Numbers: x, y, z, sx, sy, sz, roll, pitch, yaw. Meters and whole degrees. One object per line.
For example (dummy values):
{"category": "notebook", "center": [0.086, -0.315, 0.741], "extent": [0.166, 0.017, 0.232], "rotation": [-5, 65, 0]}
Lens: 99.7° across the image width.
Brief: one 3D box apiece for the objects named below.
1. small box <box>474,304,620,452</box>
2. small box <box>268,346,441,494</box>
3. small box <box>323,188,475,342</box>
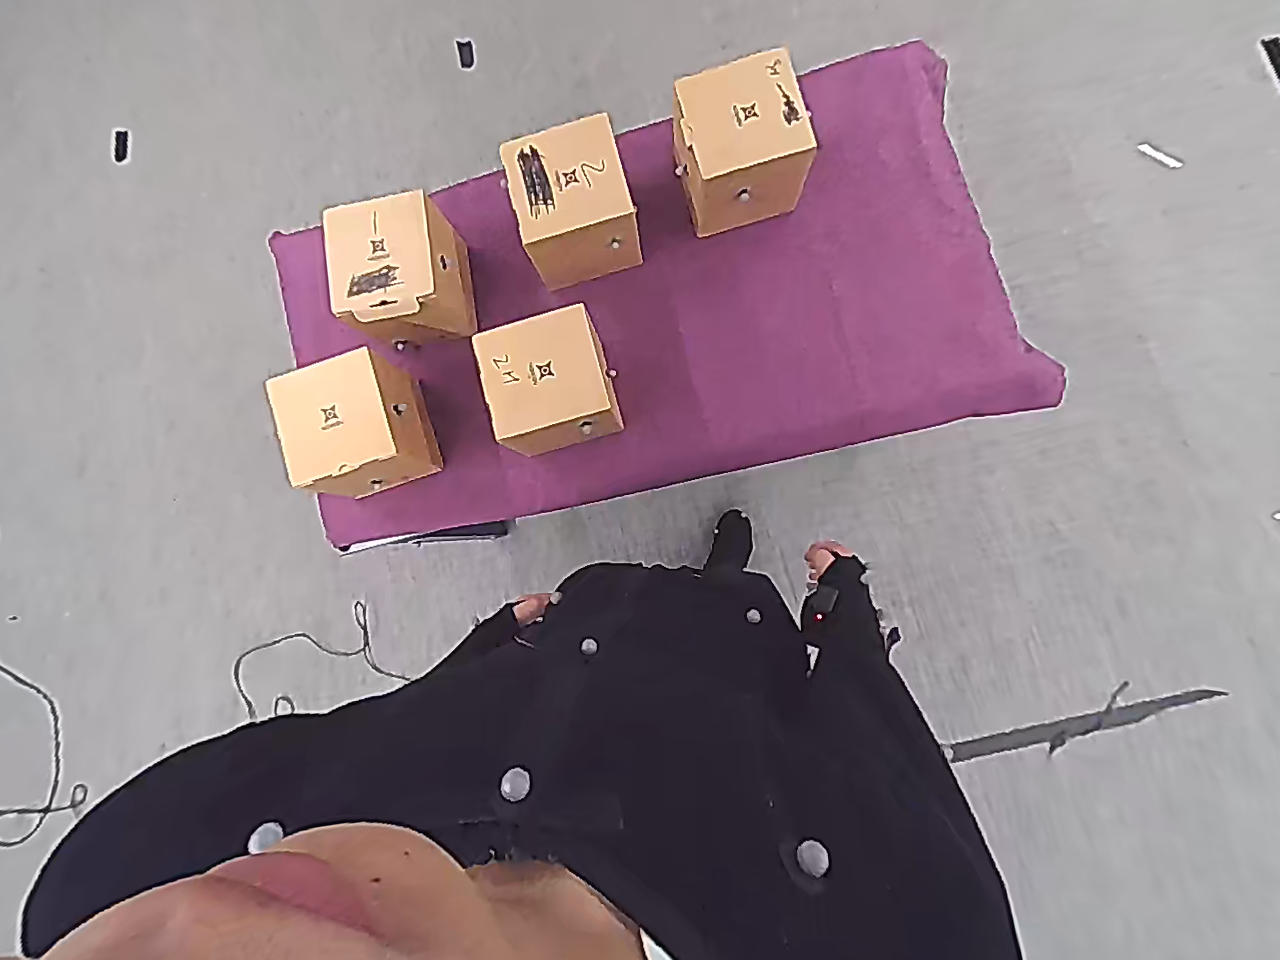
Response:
{"category": "small box", "center": [-0.135, -0.151, 0.858], "extent": [0.179, 0.176, 0.168], "rotation": [-15, 84, 4]}
{"category": "small box", "center": [-0.450, -0.088, 0.877], "extent": [0.168, 0.176, 0.179], "rotation": [-19, 84, 1]}
{"category": "small box", "center": [-0.387, -0.341, 0.896], "extent": [0.168, 0.176, 0.179], "rotation": [-9, 84, 3]}
